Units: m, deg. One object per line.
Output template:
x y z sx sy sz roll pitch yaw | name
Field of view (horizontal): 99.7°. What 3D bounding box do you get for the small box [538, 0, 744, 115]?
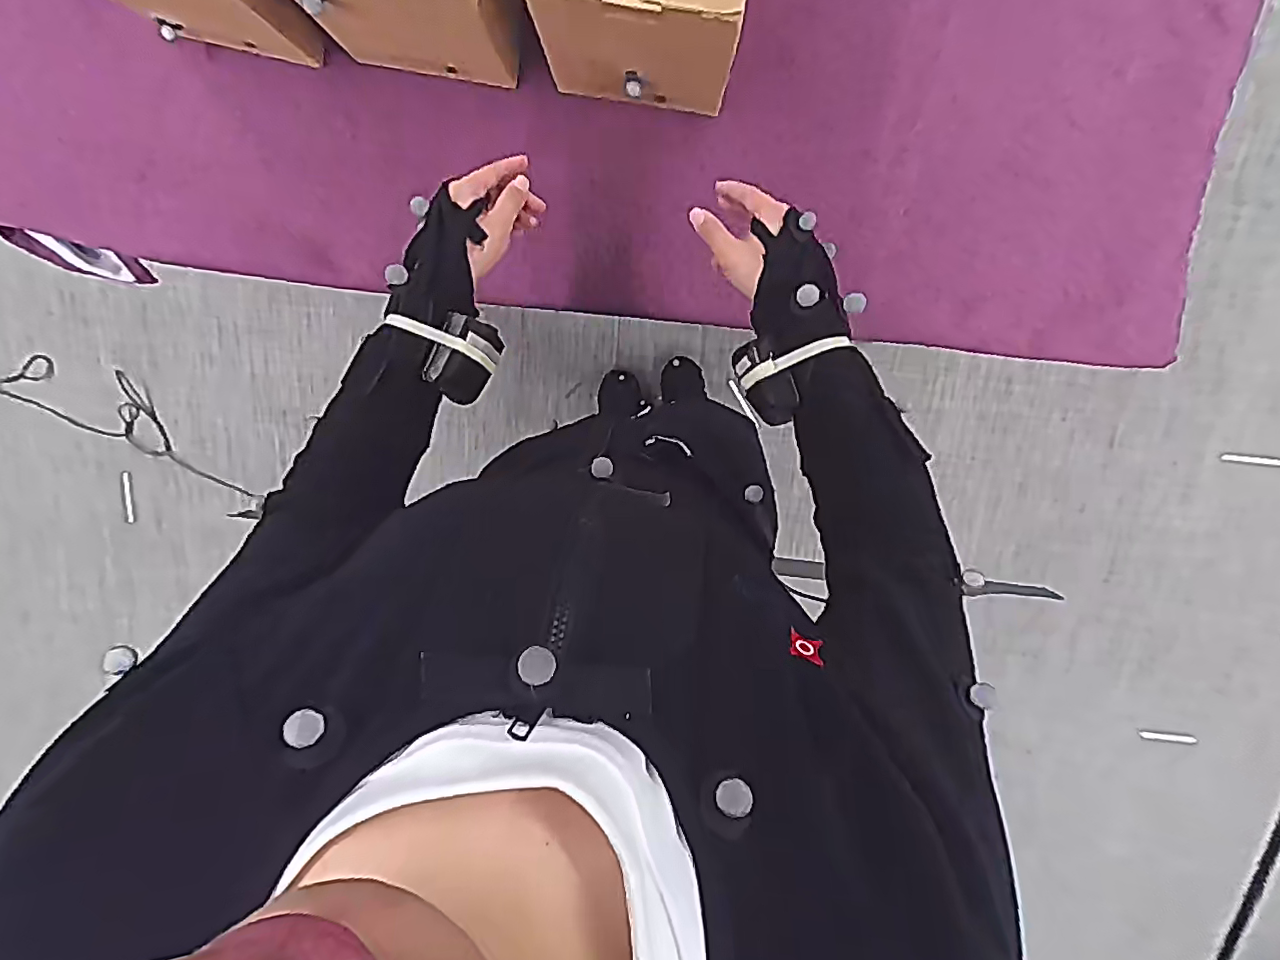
0.008 -0.448 0.451 0.168 0.176 0.179 9 103 0 | small box
